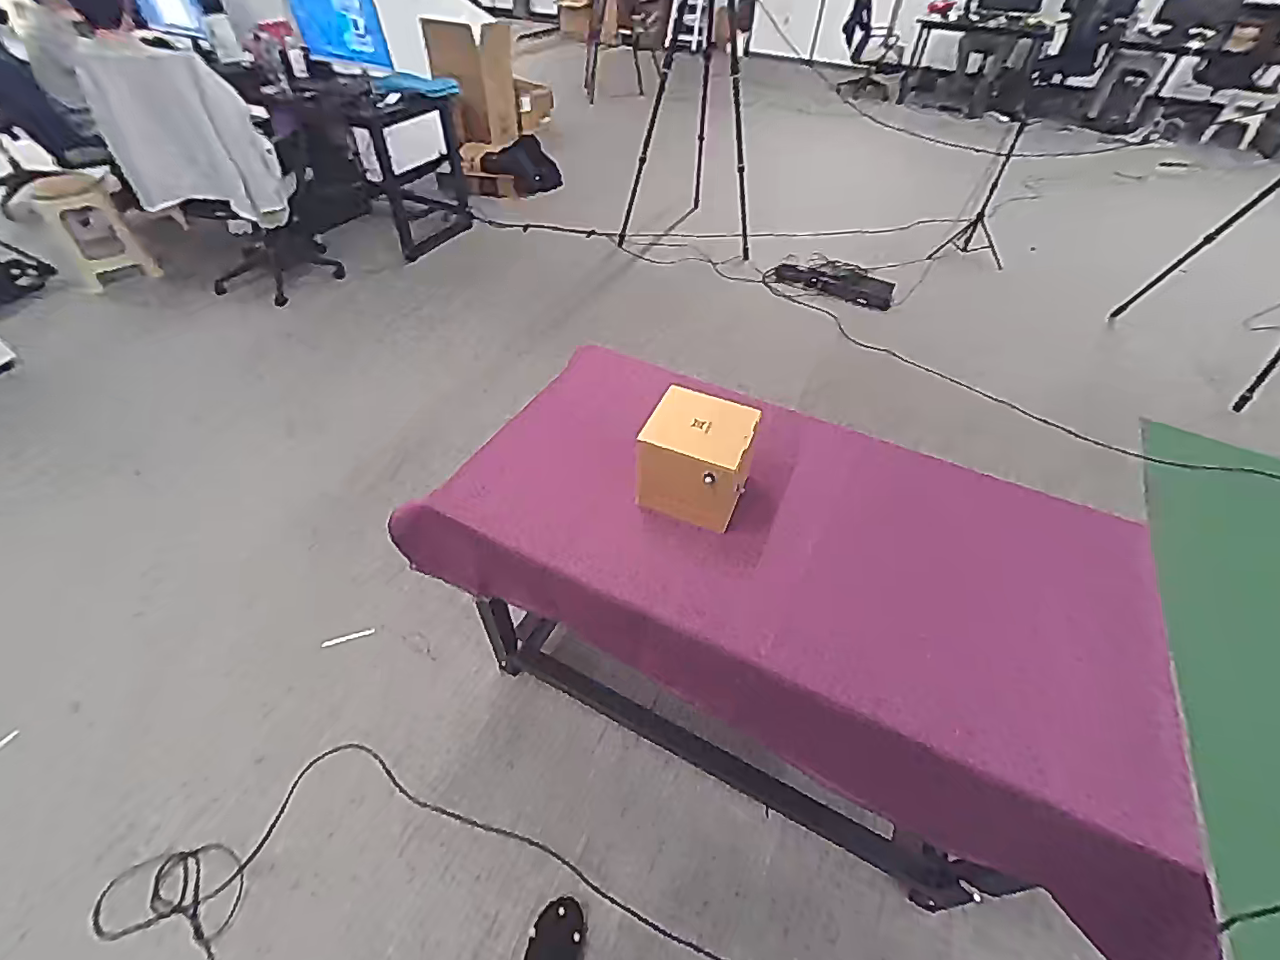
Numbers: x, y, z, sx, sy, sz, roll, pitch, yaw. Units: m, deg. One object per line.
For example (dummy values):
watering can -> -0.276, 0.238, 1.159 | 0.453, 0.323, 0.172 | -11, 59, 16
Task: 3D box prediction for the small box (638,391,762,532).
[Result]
small box -> 0.103, -0.031, 0.985 | 0.179, 0.176, 0.168 | 19, 49, 14
